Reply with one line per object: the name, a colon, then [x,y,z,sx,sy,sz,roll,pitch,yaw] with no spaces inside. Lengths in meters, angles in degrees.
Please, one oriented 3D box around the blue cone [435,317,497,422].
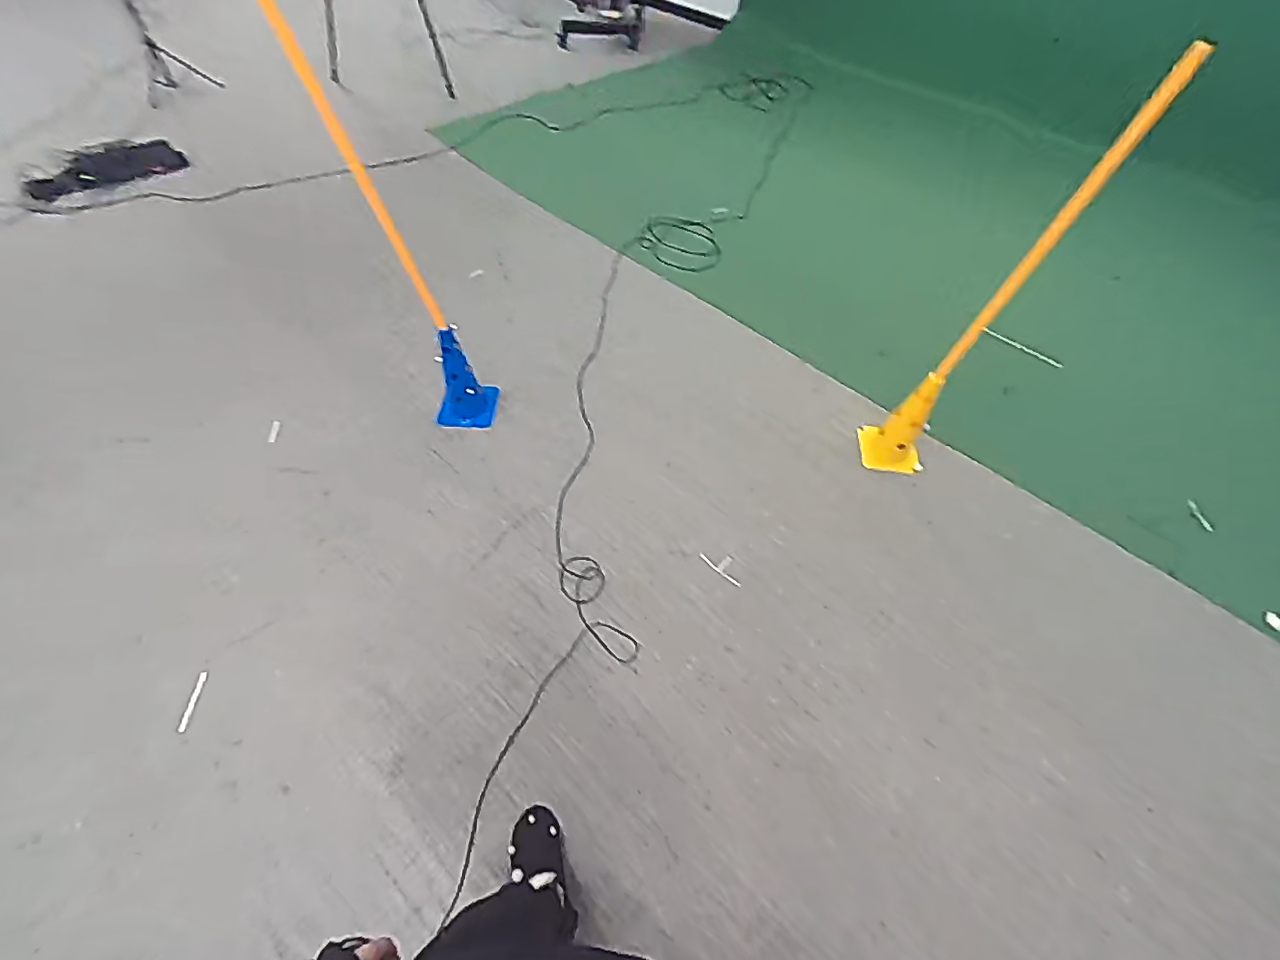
blue cone: [-0.611,-0.373,1.800,0.193,0.380,0.192,0,55,-2]
